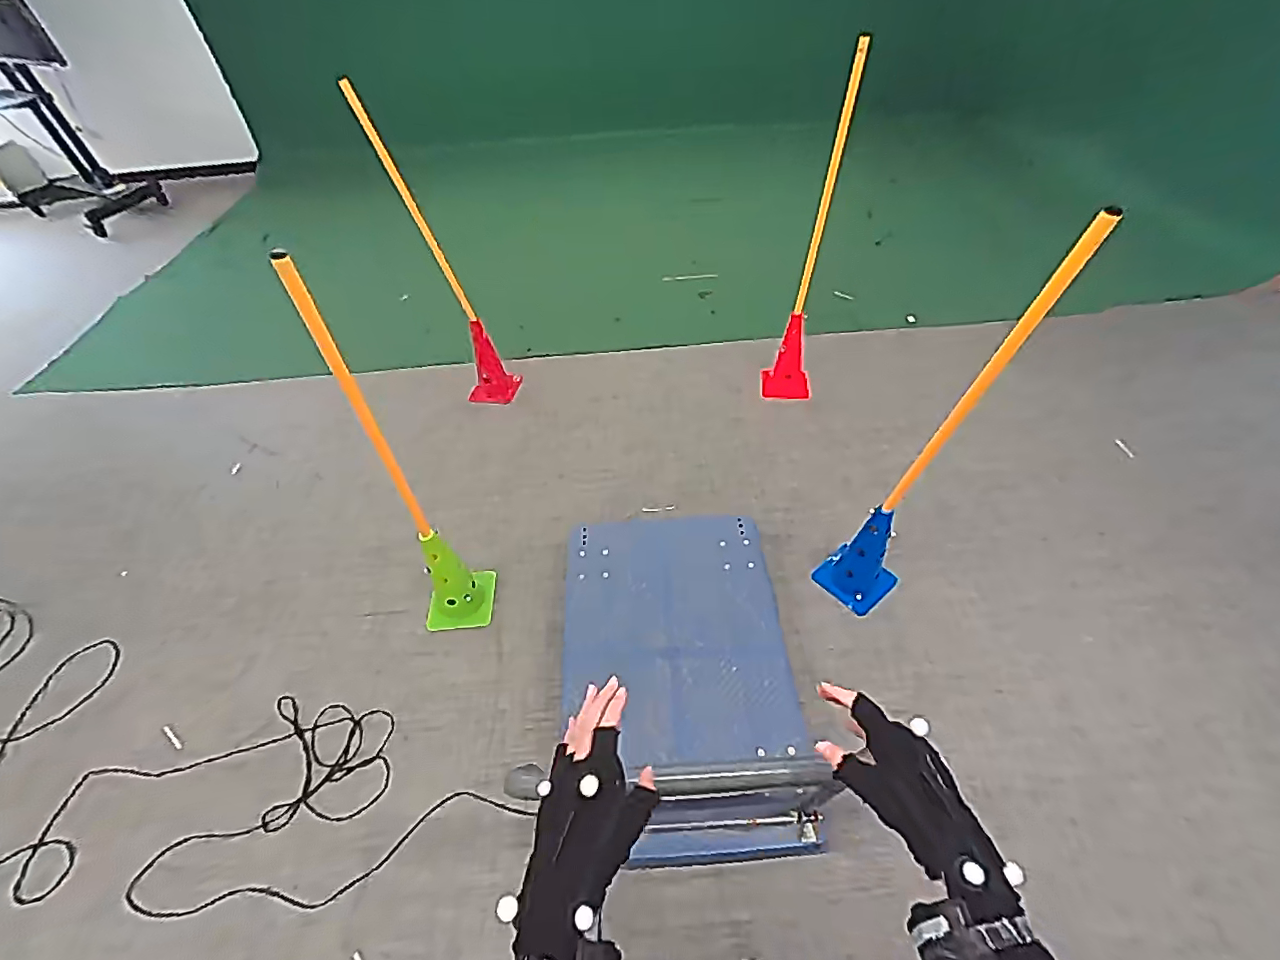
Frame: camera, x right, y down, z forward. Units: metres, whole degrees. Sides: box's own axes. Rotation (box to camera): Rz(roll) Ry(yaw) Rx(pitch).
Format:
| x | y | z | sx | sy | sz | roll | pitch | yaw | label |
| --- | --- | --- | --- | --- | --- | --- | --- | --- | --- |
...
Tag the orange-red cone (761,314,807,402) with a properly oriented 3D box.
| x | y | z | sx | sy | sz | roll | pitch | yaw | label |
| --- | --- | --- | --- | --- | --- | --- | --- | --- | --- |
| 0.619 | -0.523 | 2.245 | 0.198 | 0.360 | 0.199 | 3 | 49 | 8 | orange-red cone |
